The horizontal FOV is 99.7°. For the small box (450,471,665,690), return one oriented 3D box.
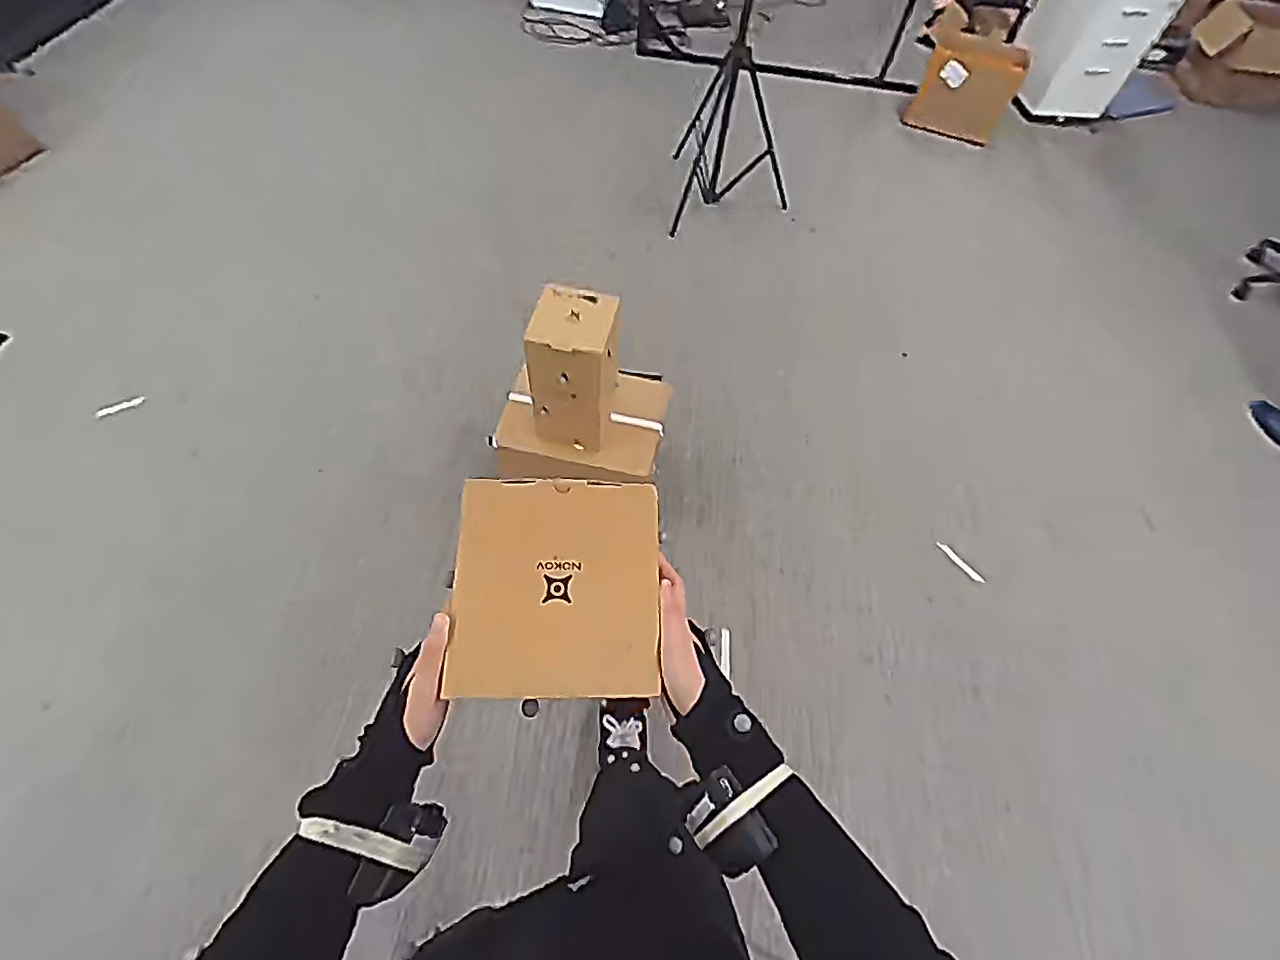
[{"bbox_3d":[-0.068,0.104,0.511,0.168,0.176,0.179,2,68,-6],"label":"small box"}]

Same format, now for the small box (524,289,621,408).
[{"bbox_3d":[-0.141,-0.283,1.187,0.168,0.176,0.179,12,59,2],"label":"small box"}]
